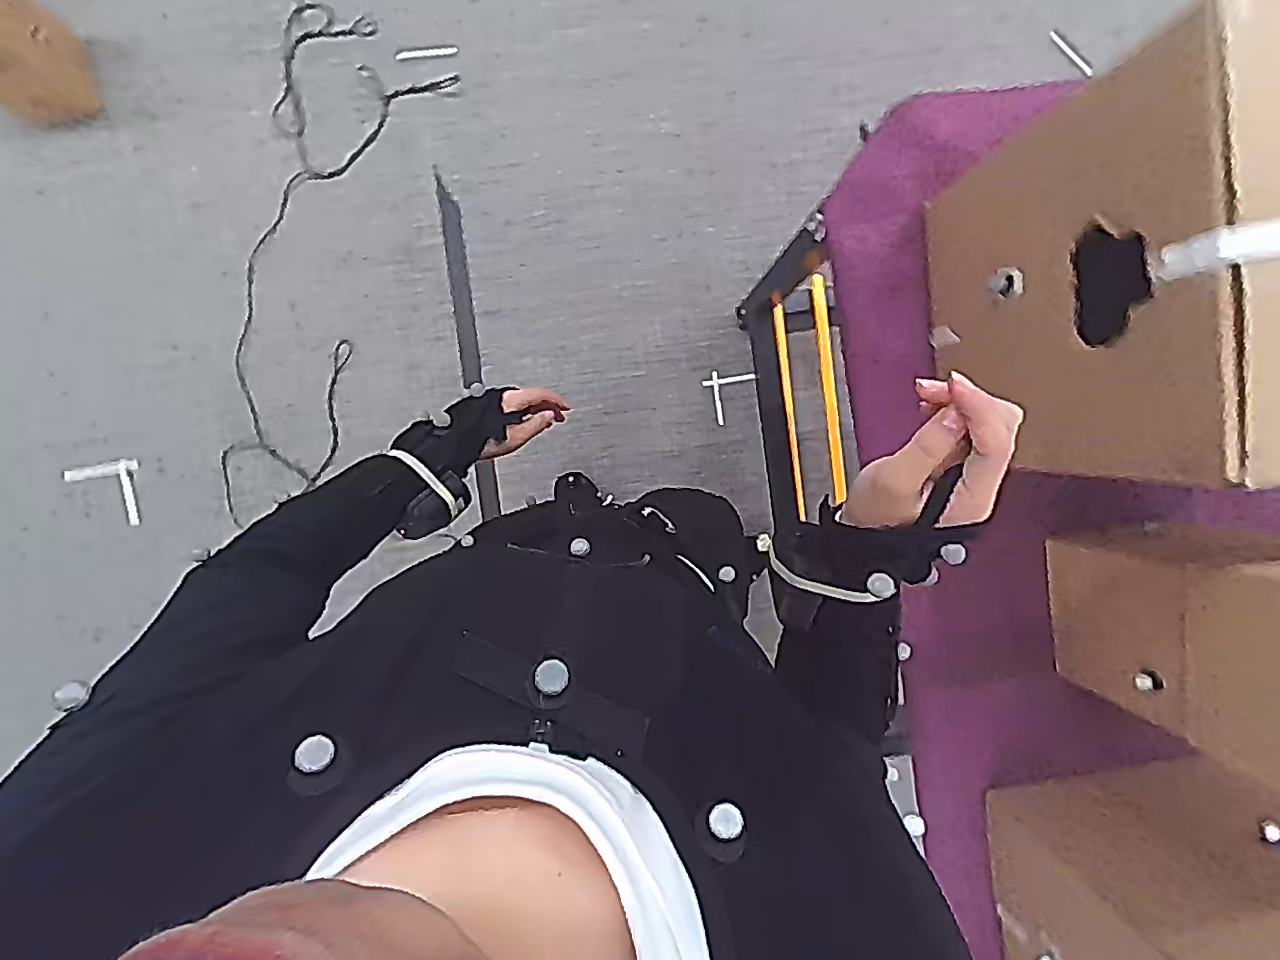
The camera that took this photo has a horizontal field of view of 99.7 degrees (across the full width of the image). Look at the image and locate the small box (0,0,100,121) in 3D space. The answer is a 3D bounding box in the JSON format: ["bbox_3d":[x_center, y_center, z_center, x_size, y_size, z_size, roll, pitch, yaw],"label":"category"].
[{"bbox_3d":[-1.355,-0.934,1.179,0.168,0.176,0.179,-14,93,-2],"label":"small box"}]
